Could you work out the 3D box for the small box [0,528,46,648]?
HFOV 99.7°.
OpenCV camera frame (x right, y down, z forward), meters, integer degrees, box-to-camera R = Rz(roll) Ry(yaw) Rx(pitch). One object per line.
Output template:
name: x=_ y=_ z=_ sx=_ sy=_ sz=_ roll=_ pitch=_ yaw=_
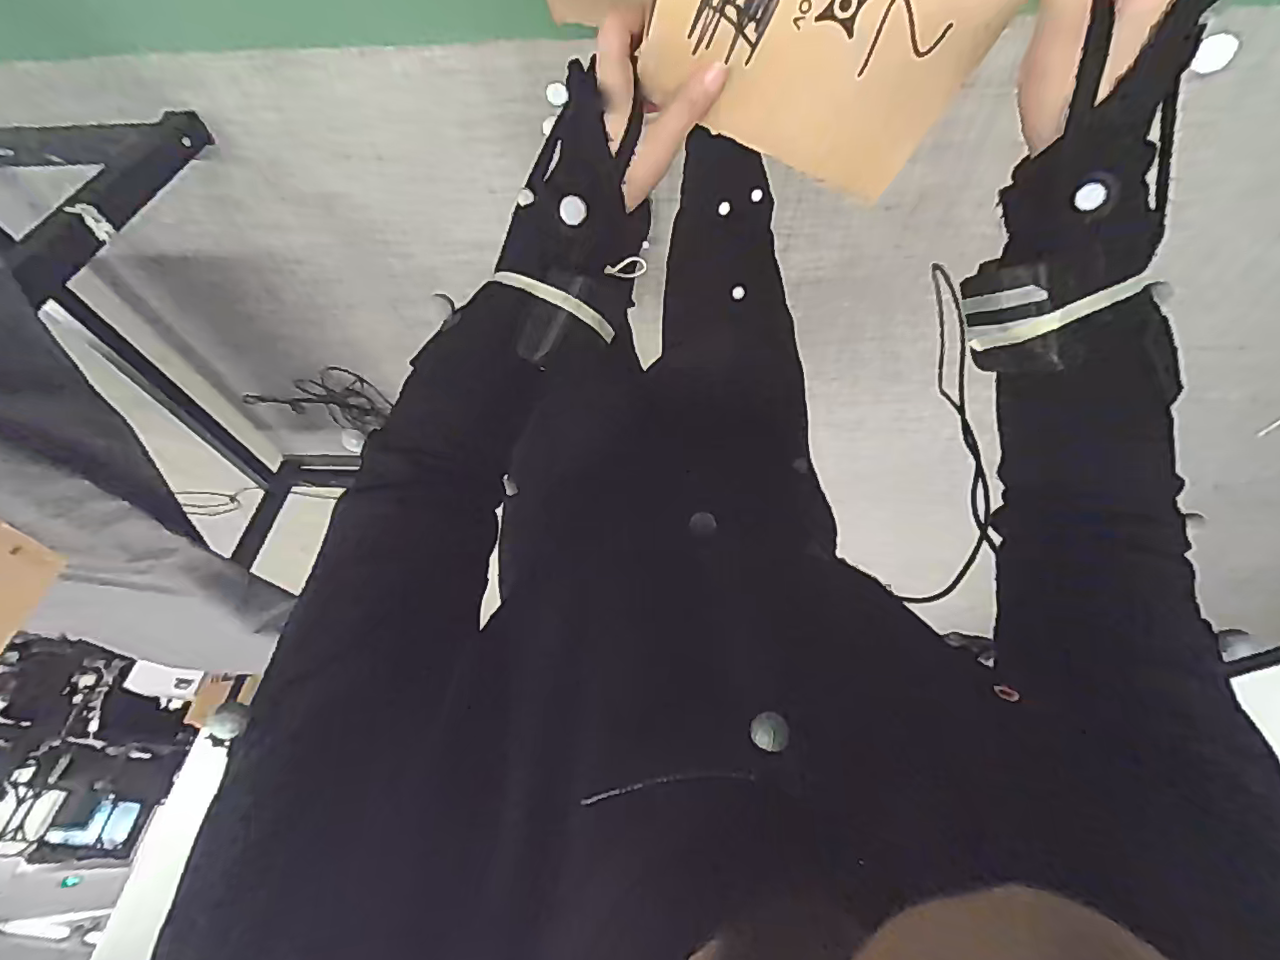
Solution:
small box: x=-1.018 y=0.146 z=0.763 sx=0.179 sy=0.176 sz=0.168 roll=13 pitch=145 yaw=-9
